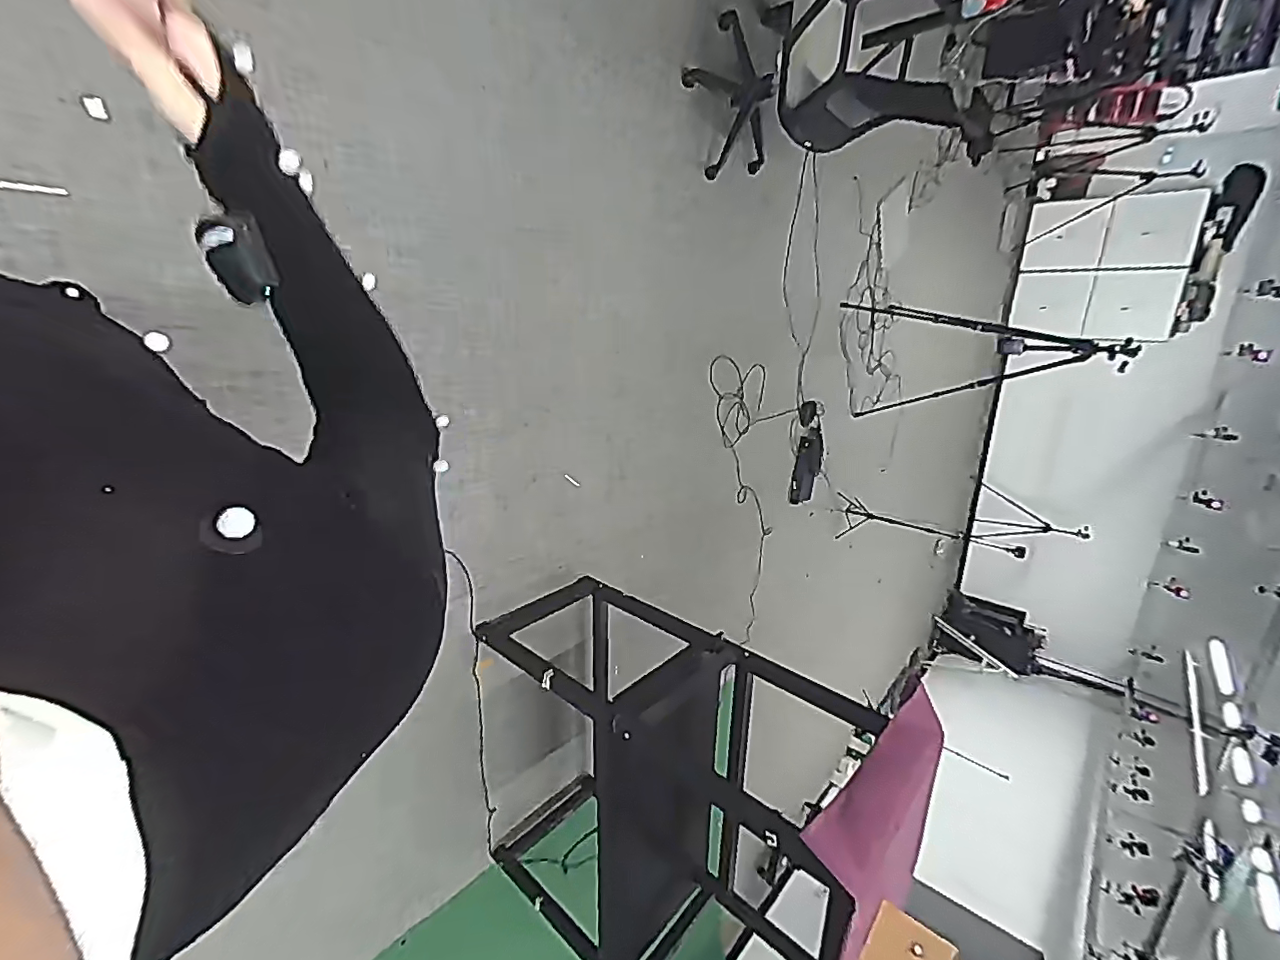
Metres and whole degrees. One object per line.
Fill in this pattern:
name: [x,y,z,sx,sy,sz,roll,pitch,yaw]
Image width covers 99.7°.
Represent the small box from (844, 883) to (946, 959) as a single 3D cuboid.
small box: [0.593,1.112,1.269,0.179,0.176,0.168,-19,116,-47]
